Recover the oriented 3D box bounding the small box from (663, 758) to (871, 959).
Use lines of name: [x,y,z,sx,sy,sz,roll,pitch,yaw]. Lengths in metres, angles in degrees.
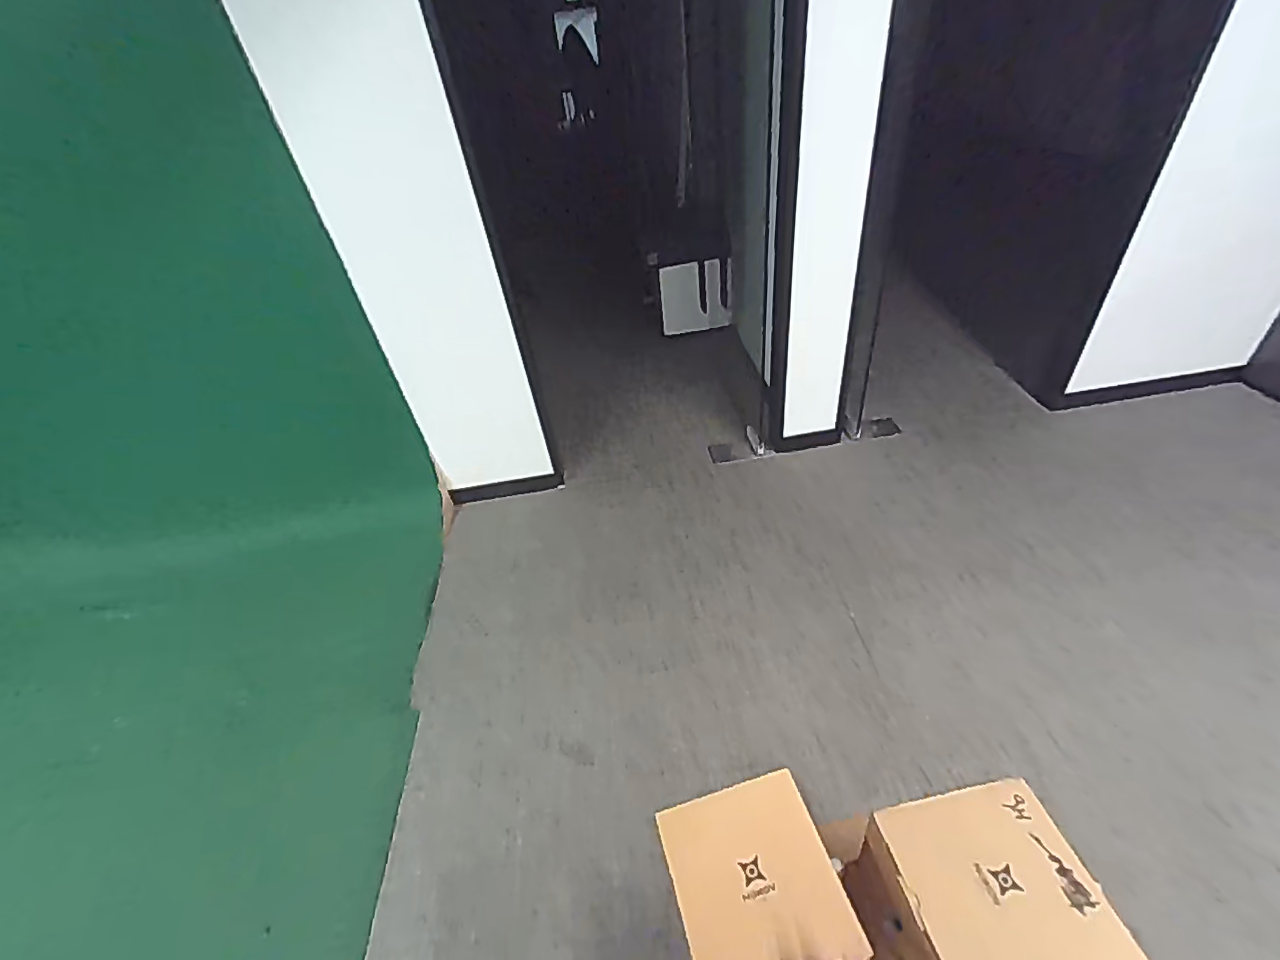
small box: [0.130,0.462,0.622,0.168,0.176,0.179,-15,42,-8]
